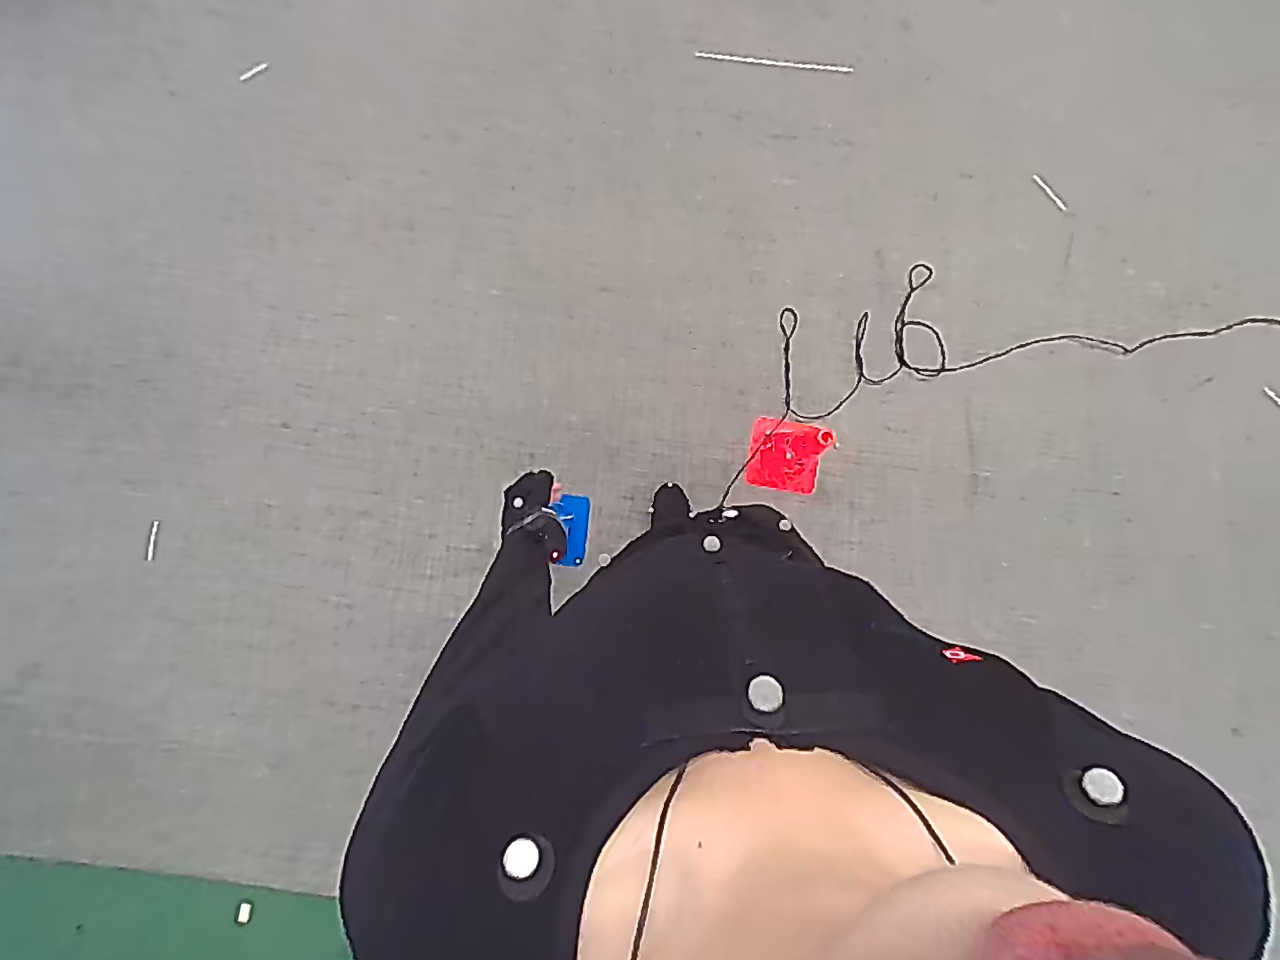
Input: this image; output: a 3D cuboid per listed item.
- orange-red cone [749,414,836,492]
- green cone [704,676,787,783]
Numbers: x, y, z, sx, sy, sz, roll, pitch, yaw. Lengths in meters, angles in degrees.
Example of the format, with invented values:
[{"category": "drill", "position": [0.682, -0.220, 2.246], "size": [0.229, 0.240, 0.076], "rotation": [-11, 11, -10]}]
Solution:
[{"category": "orange-red cone", "position": [0.416, -0.086, 1.357], "size": [0.198, 0.360, 0.199], "rotation": [11, 87, 2]}, {"category": "green cone", "position": [0.286, 0.632, 1.299], "size": [0.200, 0.368, 0.202], "rotation": [9, 85, 0]}]
